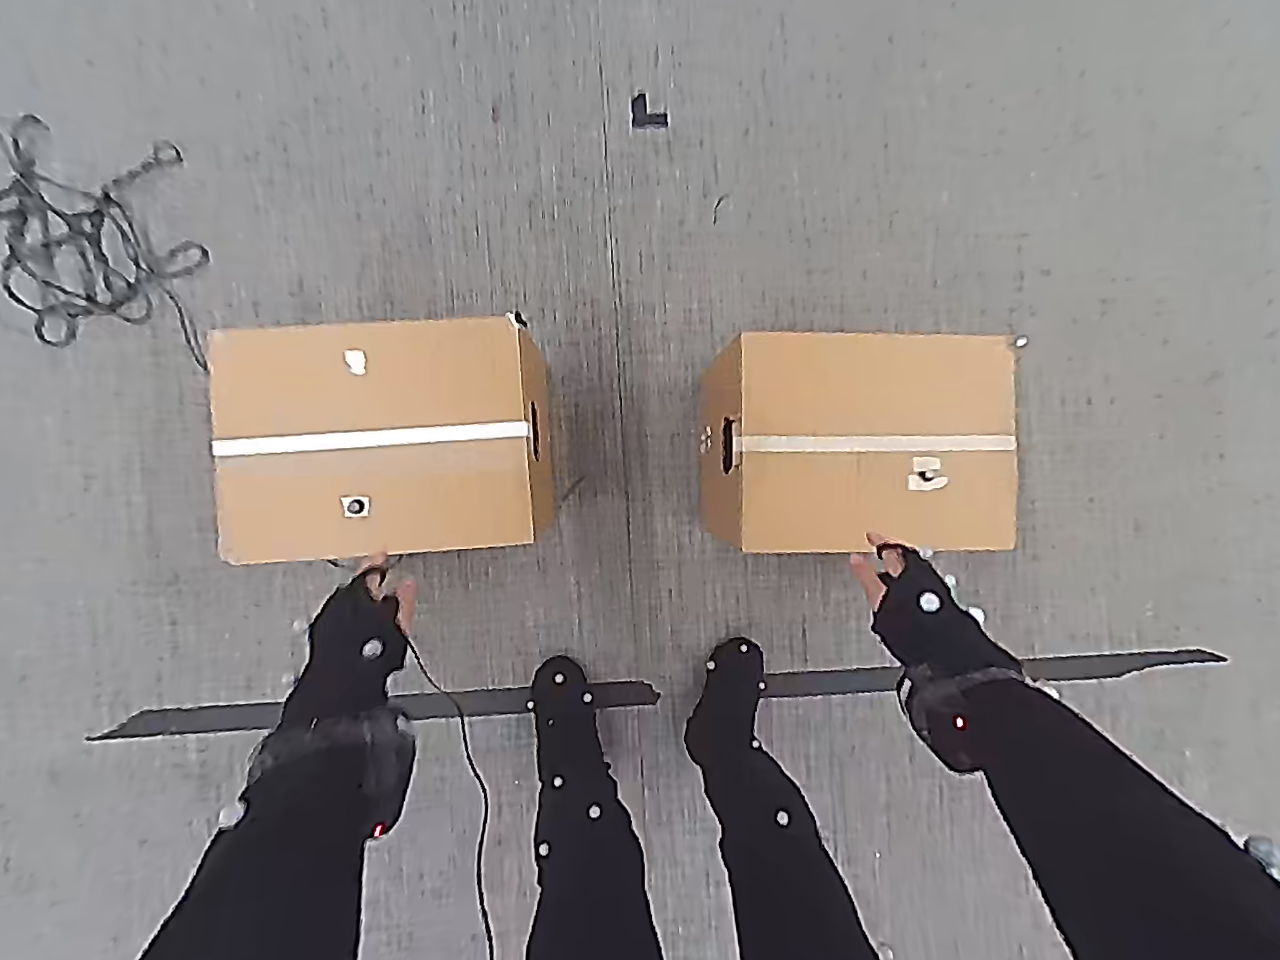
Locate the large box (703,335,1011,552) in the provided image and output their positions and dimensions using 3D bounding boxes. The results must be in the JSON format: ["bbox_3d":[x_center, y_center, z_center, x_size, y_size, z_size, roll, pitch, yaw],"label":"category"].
[{"bbox_3d":[0.333,-0.052,0.929,0.408,0.320,0.320,0,91,-4],"label":"large box"}]
